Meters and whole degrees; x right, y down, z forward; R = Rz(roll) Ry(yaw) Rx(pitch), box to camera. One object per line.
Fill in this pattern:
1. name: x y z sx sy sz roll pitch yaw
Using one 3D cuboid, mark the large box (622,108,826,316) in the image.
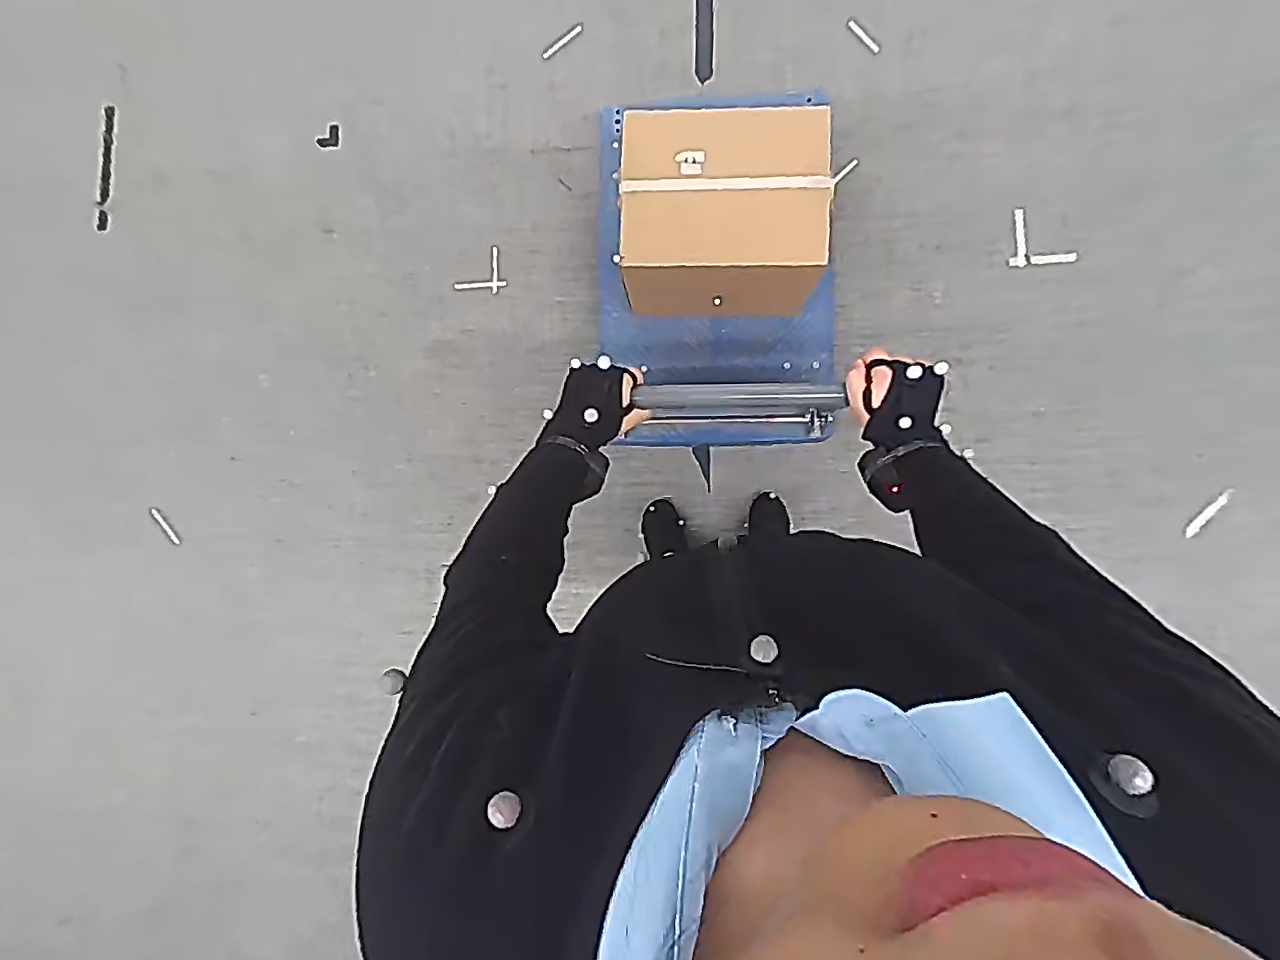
1. large box: 0.178 -0.569 1.213 0.408 0.320 0.320 1 87 5
